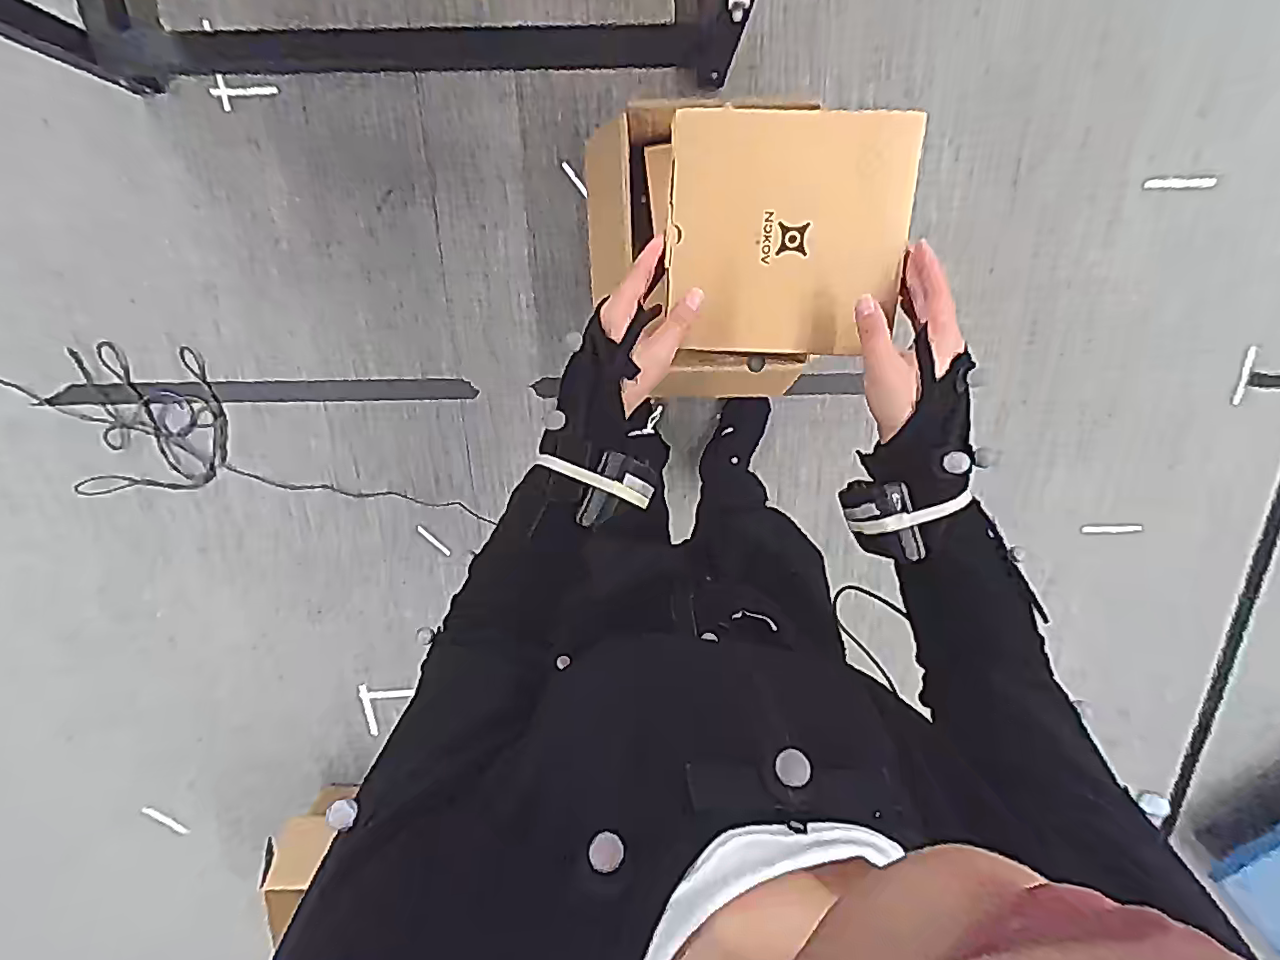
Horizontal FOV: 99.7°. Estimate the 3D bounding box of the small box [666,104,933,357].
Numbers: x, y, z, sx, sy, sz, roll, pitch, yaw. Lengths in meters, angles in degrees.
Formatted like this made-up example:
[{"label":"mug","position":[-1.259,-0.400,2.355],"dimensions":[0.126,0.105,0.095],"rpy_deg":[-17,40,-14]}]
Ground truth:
[{"label":"small box","position":[0.115,-0.200,0.469],"dimensions":[0.179,0.176,0.168],"rpy_deg":[3,107,3]}]
